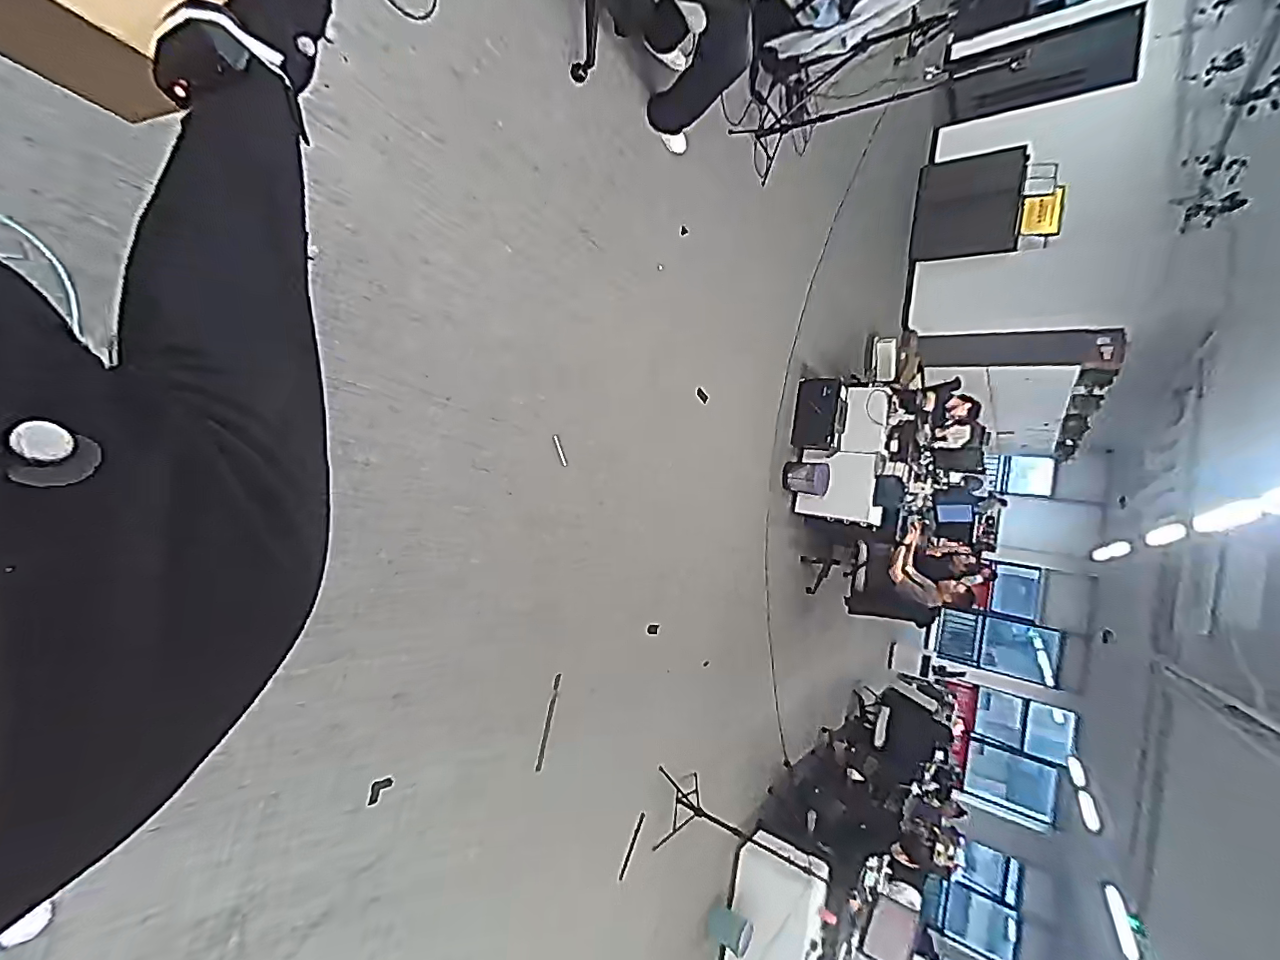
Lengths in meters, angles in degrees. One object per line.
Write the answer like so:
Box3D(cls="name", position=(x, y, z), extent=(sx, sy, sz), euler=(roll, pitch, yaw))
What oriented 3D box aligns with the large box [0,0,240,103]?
Box3D(cls="large box", position=(-0.540, -0.550, 0.374), extent=(0.408, 0.320, 0.320), euler=(13, 97, -56))
